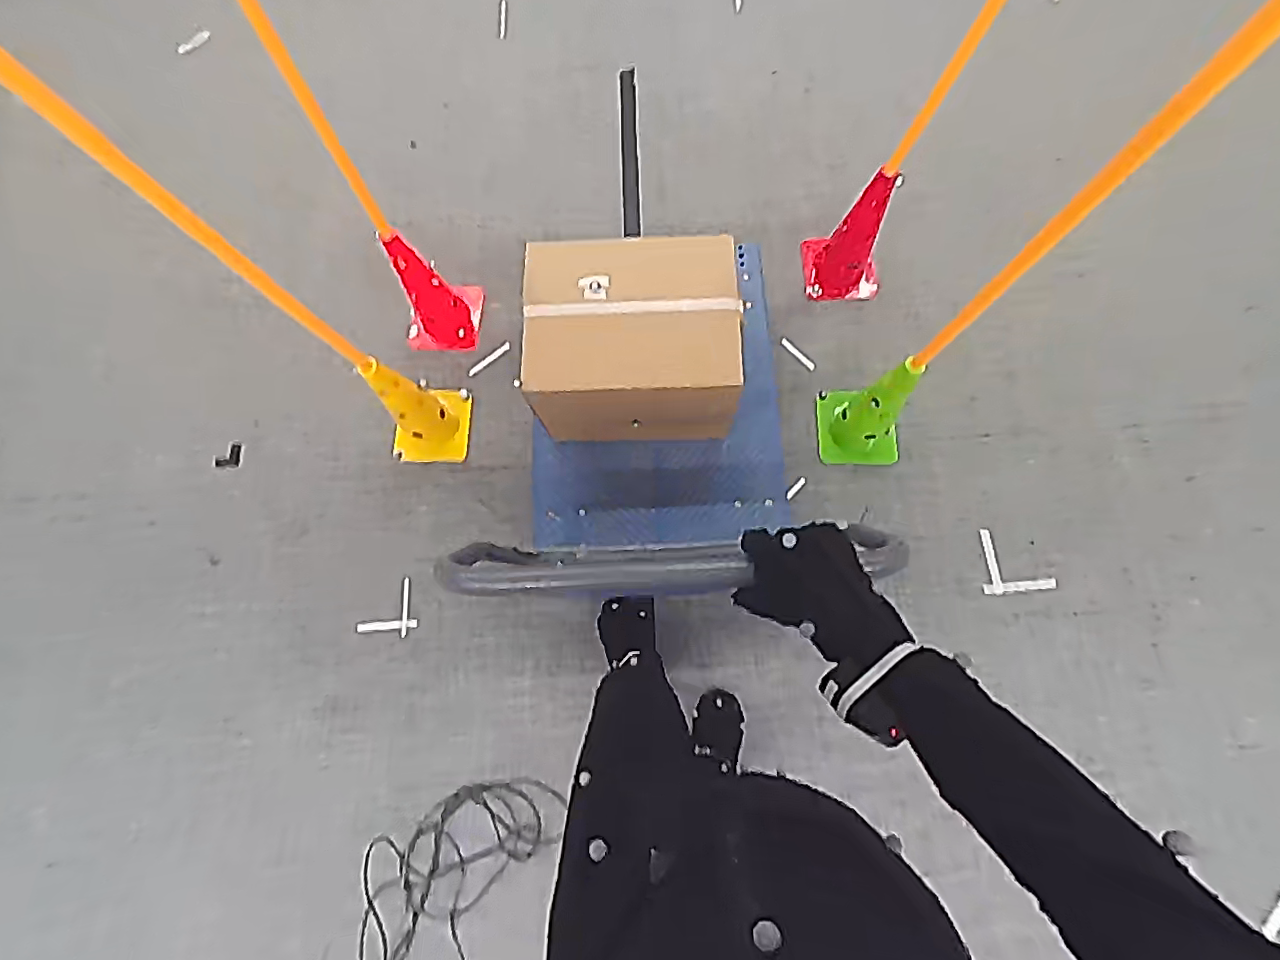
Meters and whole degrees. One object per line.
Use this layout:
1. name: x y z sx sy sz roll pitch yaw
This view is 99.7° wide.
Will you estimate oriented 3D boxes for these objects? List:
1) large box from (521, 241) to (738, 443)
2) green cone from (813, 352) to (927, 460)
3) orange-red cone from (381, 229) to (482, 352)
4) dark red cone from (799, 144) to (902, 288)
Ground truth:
1. large box: -0.016 -0.272 1.162 0.408 0.320 0.320 -2 76 3
2. green cone: 0.559 -0.193 1.262 0.202 0.368 0.200 1 76 1
3. orange-red cone: -0.568 -0.512 1.397 0.198 0.360 0.199 4 74 3
4. dark red cone: 0.555 -0.667 1.366 0.201 0.394 0.202 -3 76 0
